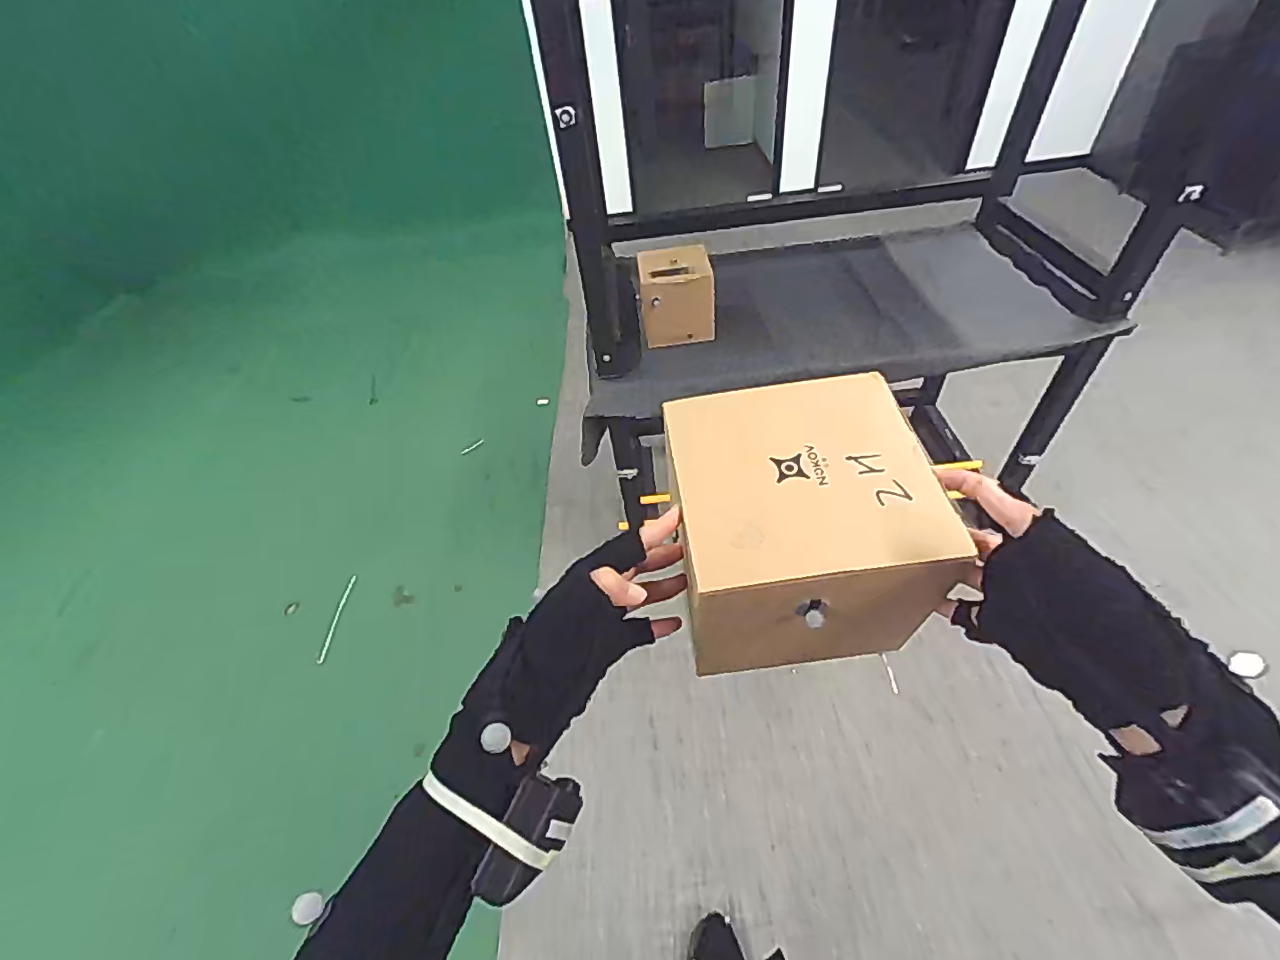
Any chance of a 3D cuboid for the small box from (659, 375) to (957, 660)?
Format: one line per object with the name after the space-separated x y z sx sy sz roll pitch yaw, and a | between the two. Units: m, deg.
0.116 0.039 0.452 0.179 0.176 0.168 -7 54 0 | small box
